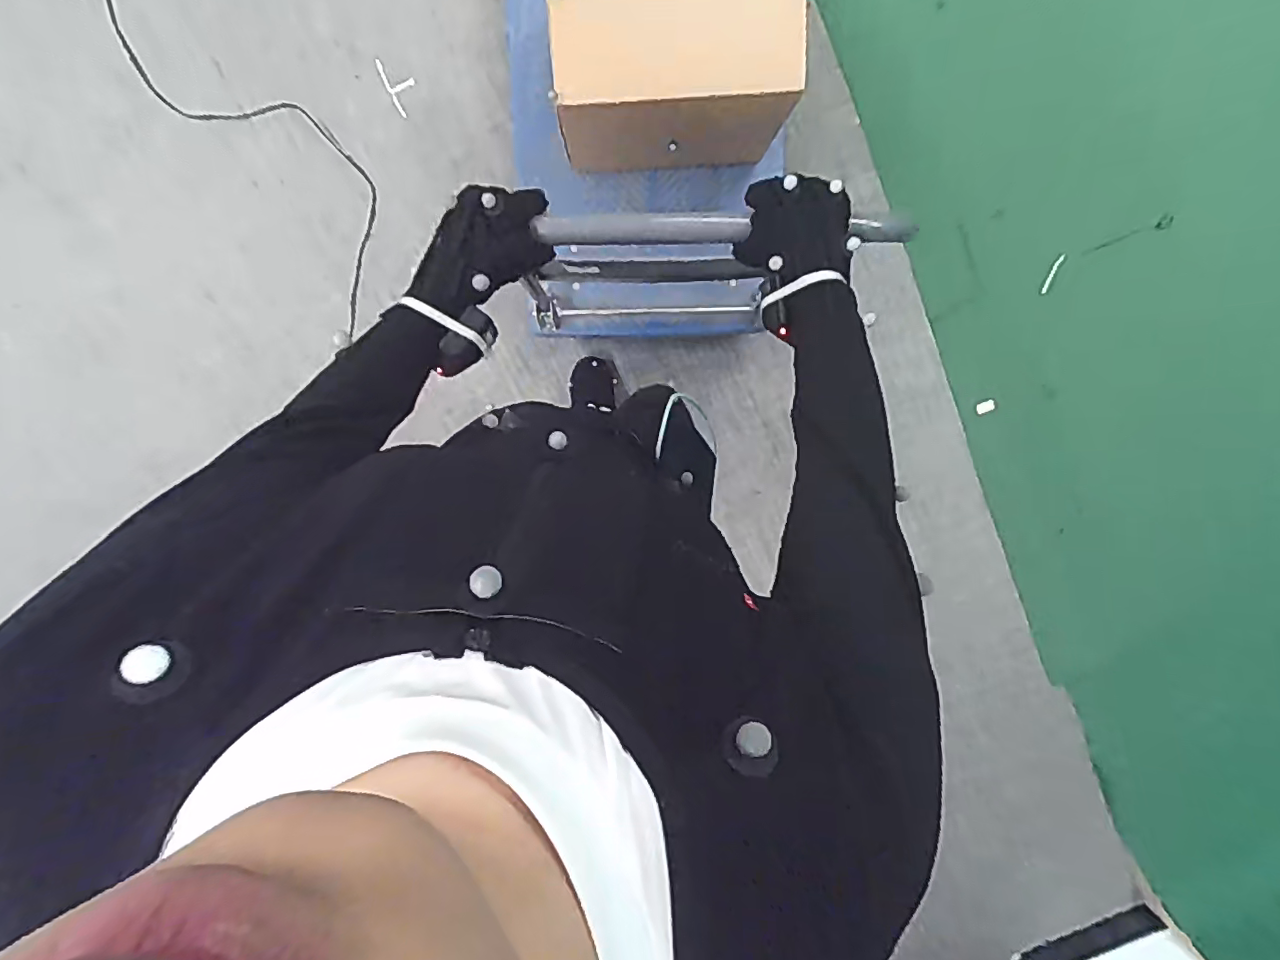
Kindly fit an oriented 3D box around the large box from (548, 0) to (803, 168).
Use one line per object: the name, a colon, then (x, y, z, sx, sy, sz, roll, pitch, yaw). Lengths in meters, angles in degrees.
large box: (0.052, -0.798, 0.984, 0.408, 0.320, 0.320, -4, 101, -1)
